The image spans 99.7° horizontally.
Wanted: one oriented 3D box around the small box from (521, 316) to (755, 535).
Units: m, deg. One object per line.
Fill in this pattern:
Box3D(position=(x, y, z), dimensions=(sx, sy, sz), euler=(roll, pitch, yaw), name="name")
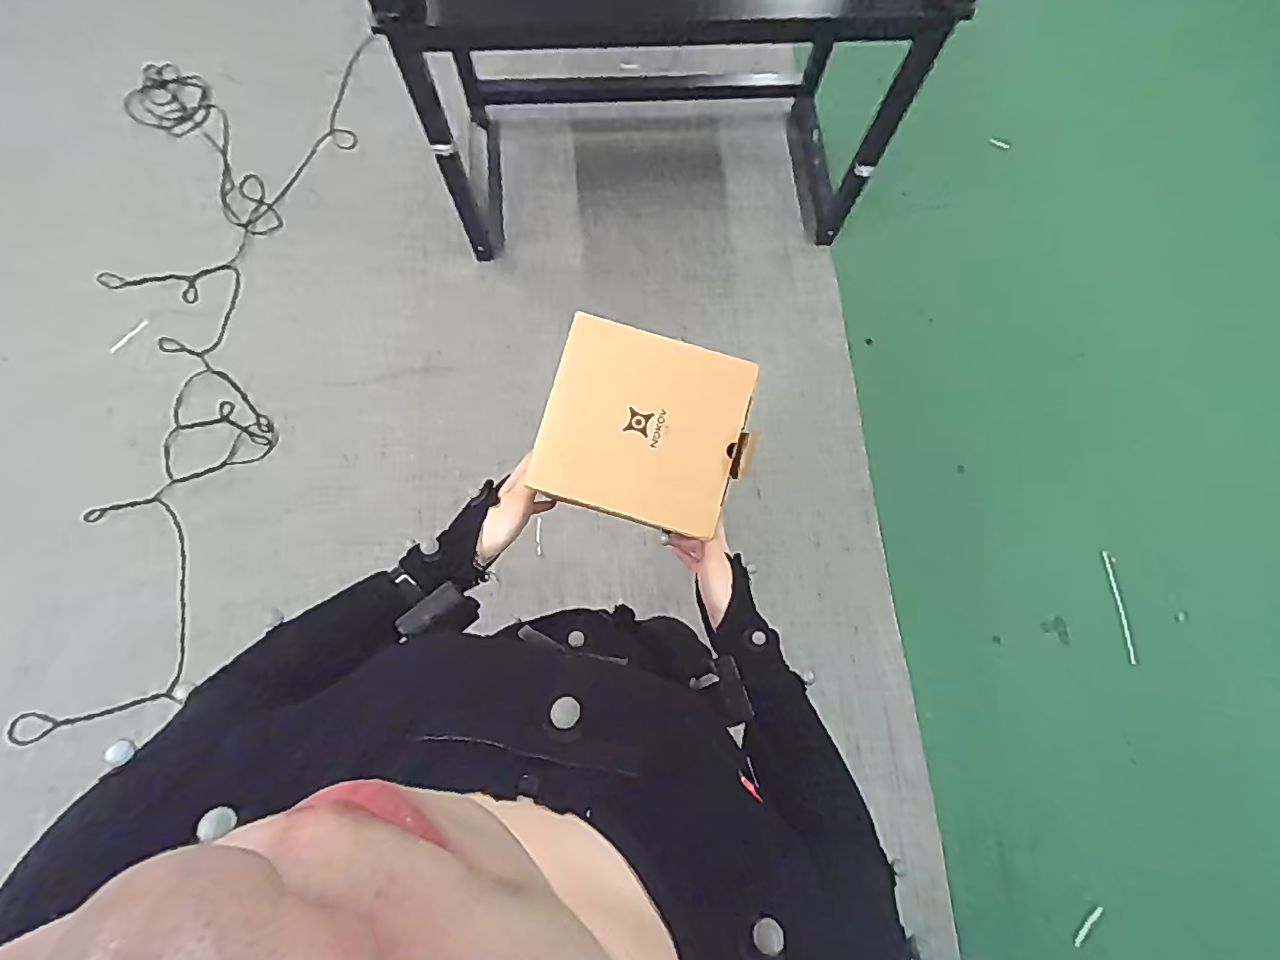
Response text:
Box3D(position=(-0.002, -0.041, 0.560), dimensions=(0.179, 0.176, 0.168), euler=(16, 84, 0), name="small box")
